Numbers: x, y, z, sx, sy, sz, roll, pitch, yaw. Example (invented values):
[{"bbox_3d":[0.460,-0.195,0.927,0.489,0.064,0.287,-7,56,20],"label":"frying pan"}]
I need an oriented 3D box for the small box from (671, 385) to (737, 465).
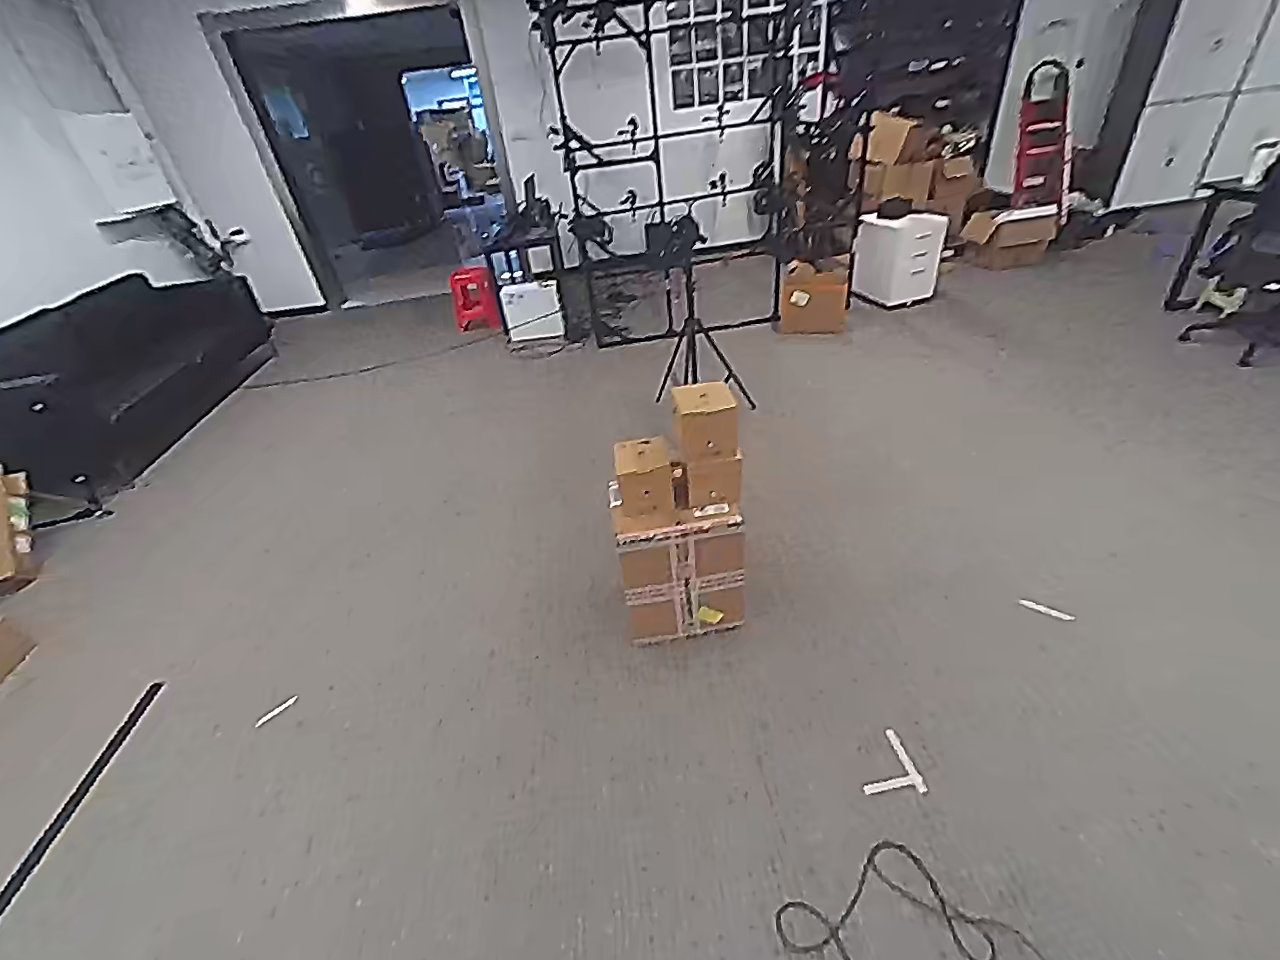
[{"bbox_3d":[0.186,-0.167,1.625,0.168,0.176,0.179,-8,36,-3],"label":"small box"}]

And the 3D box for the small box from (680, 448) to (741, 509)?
[{"bbox_3d":[0.217,-0.029,1.713,0.168,0.176,0.179,-7,37,-1],"label":"small box"}]

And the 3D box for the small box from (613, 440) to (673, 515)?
[{"bbox_3d":[0.009,-0.002,1.711,0.168,0.176,0.179,-9,37,1],"label":"small box"}]
